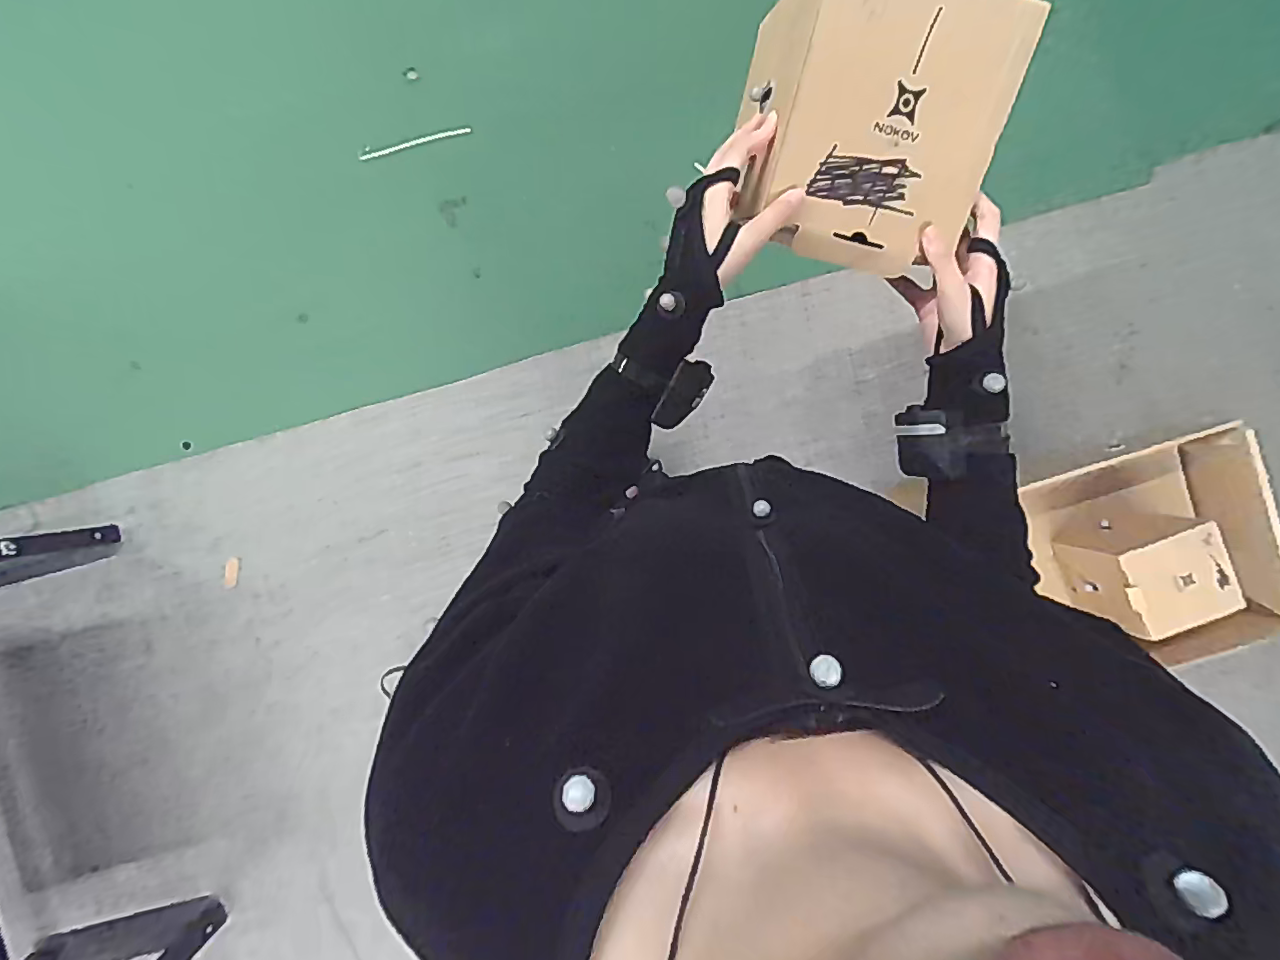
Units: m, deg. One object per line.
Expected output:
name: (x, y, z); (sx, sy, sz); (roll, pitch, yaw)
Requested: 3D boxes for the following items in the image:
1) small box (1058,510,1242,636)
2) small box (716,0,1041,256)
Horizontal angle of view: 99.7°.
small box: (0.938, 0.166, 1.018); (0.179, 0.176, 0.168); (-21, 92, 3)
small box: (0.174, -0.304, 0.465); (0.168, 0.176, 0.179); (9, 112, -11)
